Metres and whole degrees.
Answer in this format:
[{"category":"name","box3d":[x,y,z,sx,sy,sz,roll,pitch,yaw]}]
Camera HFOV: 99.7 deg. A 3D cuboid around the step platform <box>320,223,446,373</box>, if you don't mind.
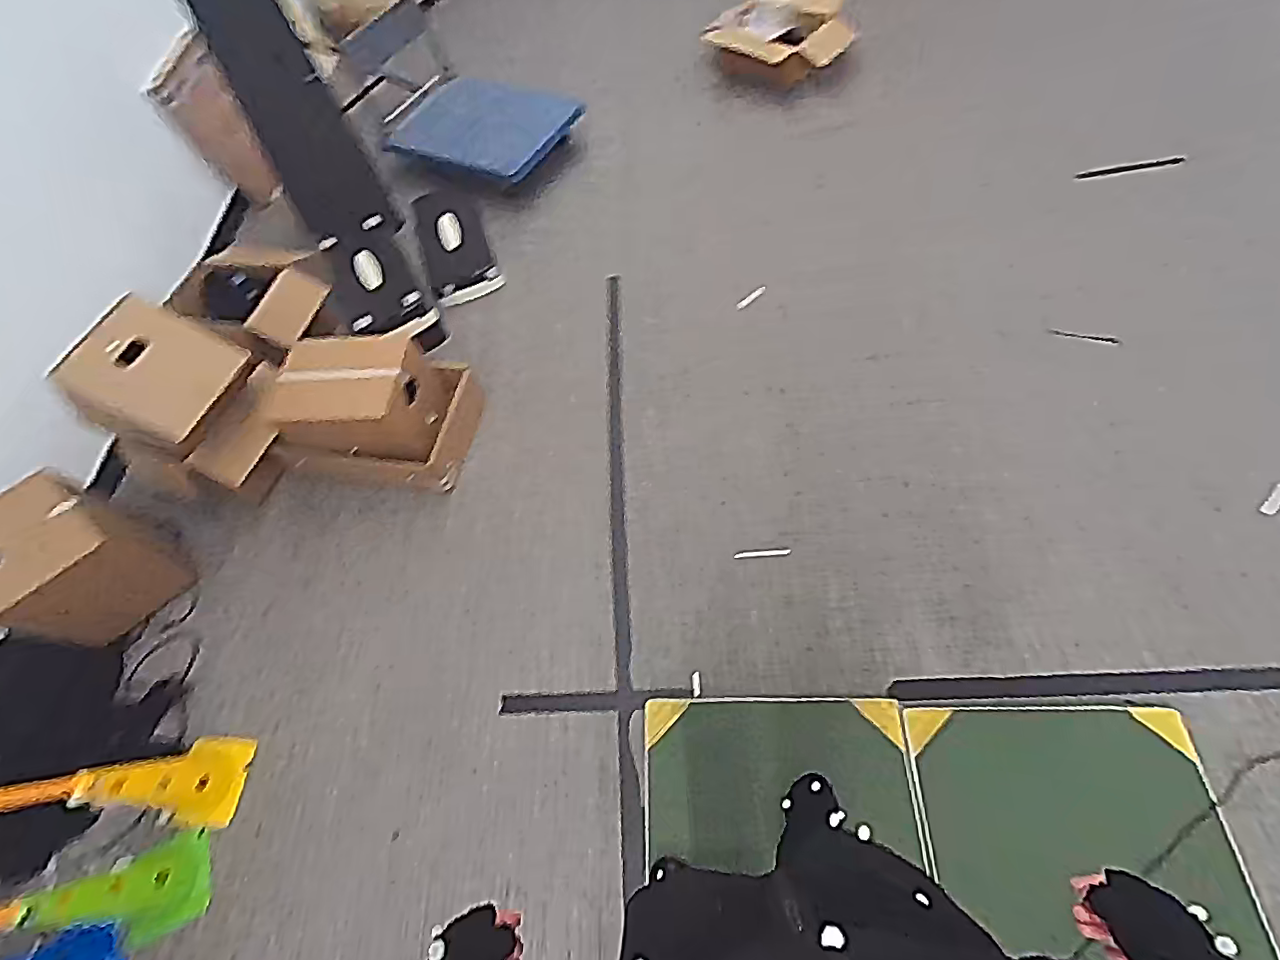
[{"category":"step platform","box3d":[-1.049,-0.755,2.187,0.286,0.204,0.684,-31,63,-8]}]
